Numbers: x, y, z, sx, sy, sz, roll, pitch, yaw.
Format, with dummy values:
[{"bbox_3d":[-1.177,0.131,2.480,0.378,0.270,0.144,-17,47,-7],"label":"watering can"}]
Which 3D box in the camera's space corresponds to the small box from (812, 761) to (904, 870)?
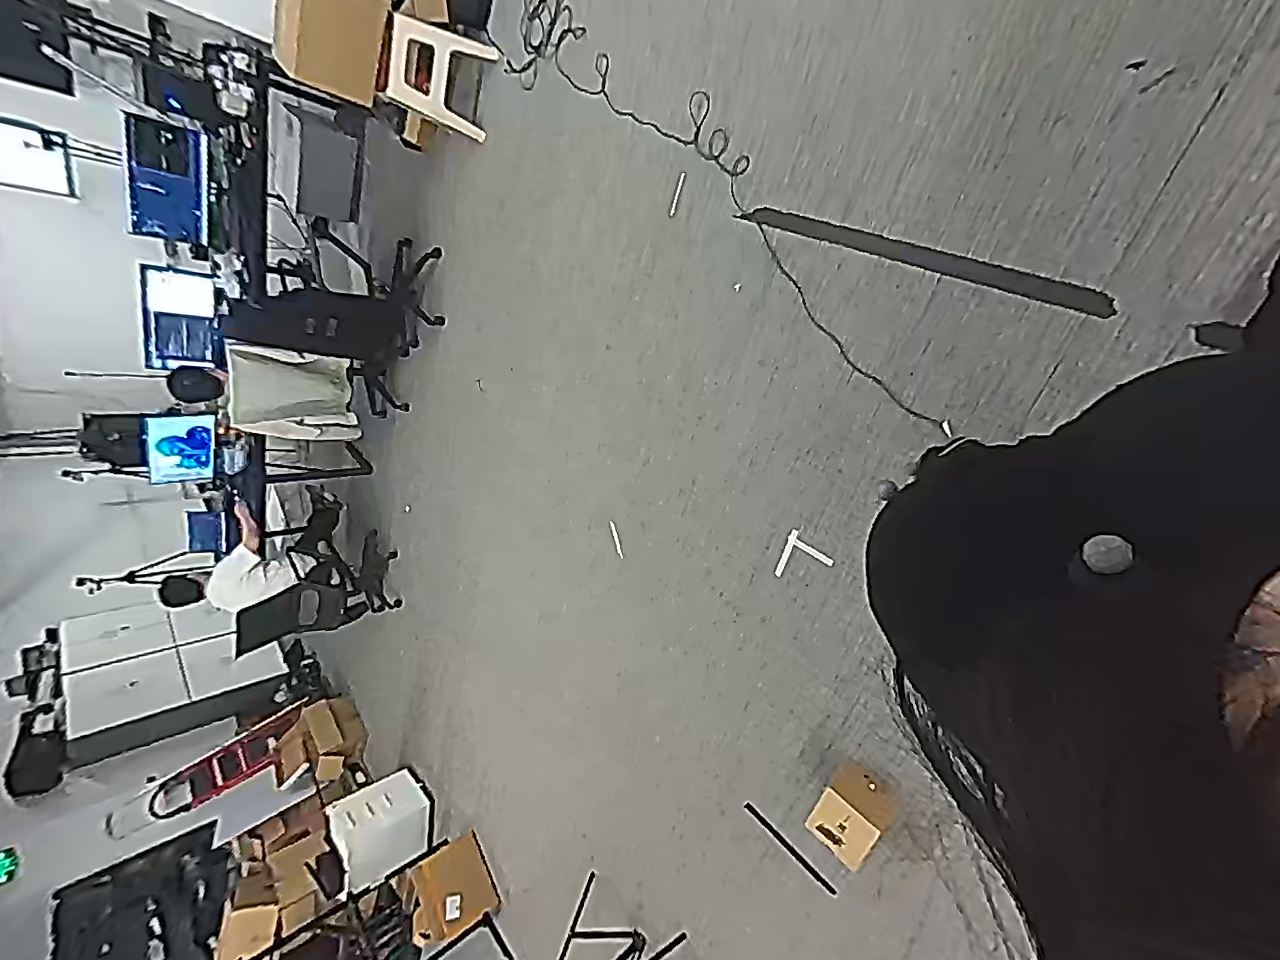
[{"bbox_3d":[0.638,0.969,1.573,0.168,0.176,0.179,34,118,35],"label":"small box"}]
